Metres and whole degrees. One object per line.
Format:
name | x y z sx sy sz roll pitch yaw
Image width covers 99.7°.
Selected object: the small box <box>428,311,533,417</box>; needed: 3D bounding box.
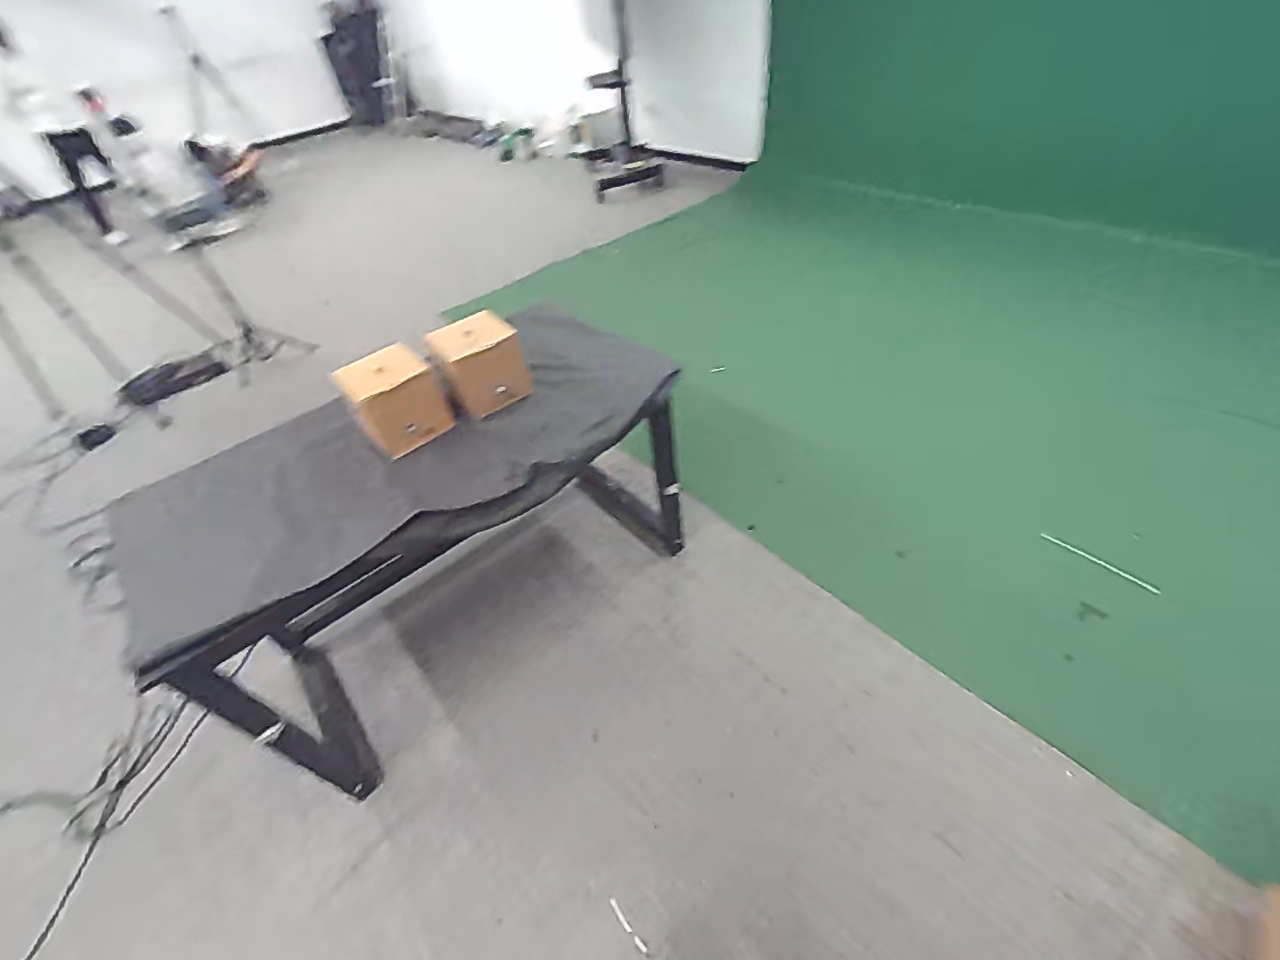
small box | -0.386 -0.283 1.323 0.168 0.176 0.179 -32 49 -22
